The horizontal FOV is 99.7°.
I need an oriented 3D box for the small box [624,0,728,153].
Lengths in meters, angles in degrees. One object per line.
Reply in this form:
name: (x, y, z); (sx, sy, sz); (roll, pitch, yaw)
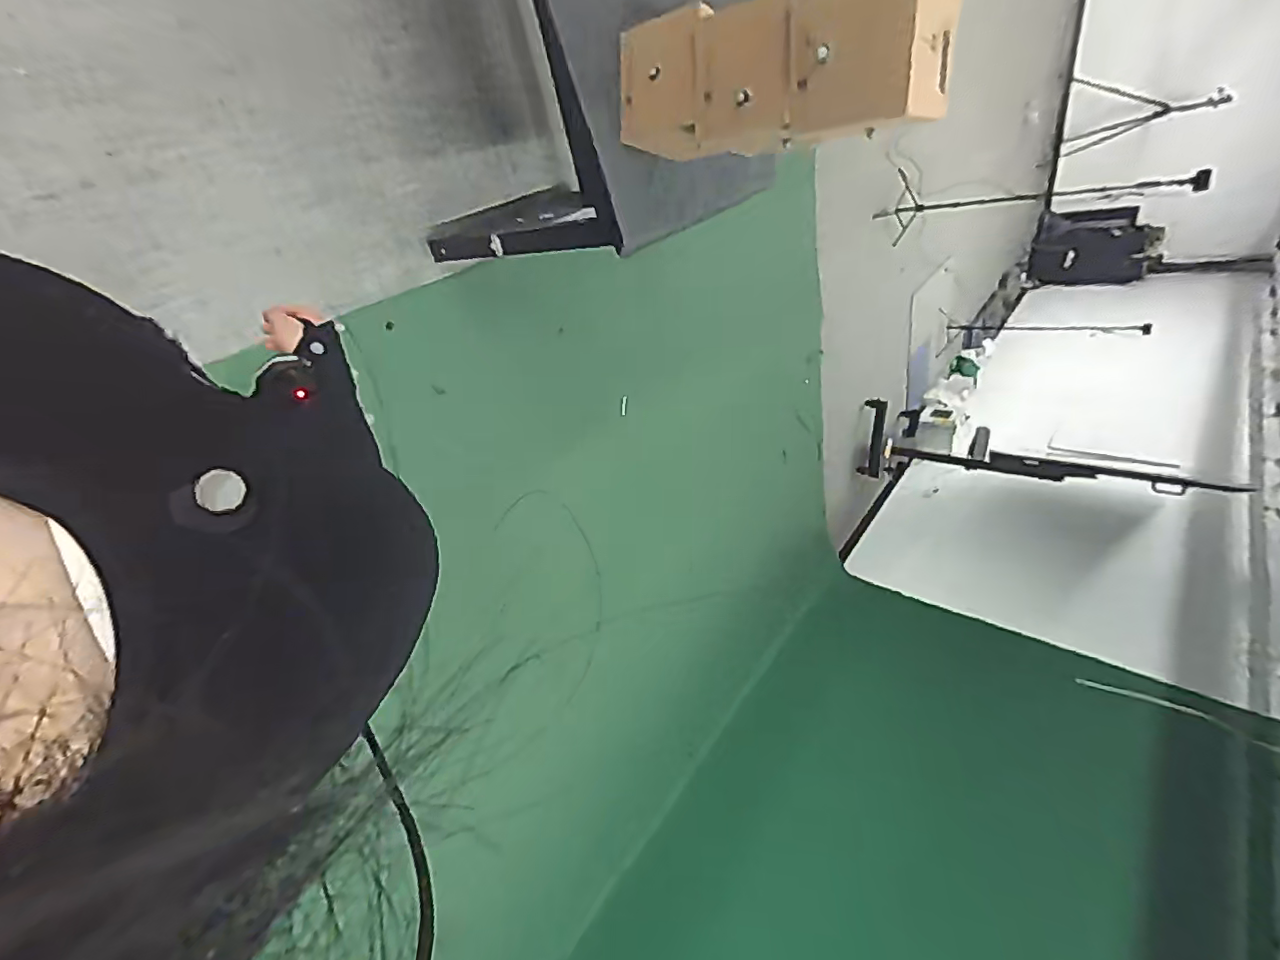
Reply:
small box: (0.086, -0.690, 0.946); (0.179, 0.176, 0.168); (-19, 117, -47)

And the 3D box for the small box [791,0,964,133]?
small box: (0.326, -0.591, 0.747); (0.179, 0.176, 0.168); (-32, 125, -40)

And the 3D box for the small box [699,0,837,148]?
small box: (0.205, -0.635, 0.849); (0.179, 0.176, 0.168); (-26, 122, -45)
